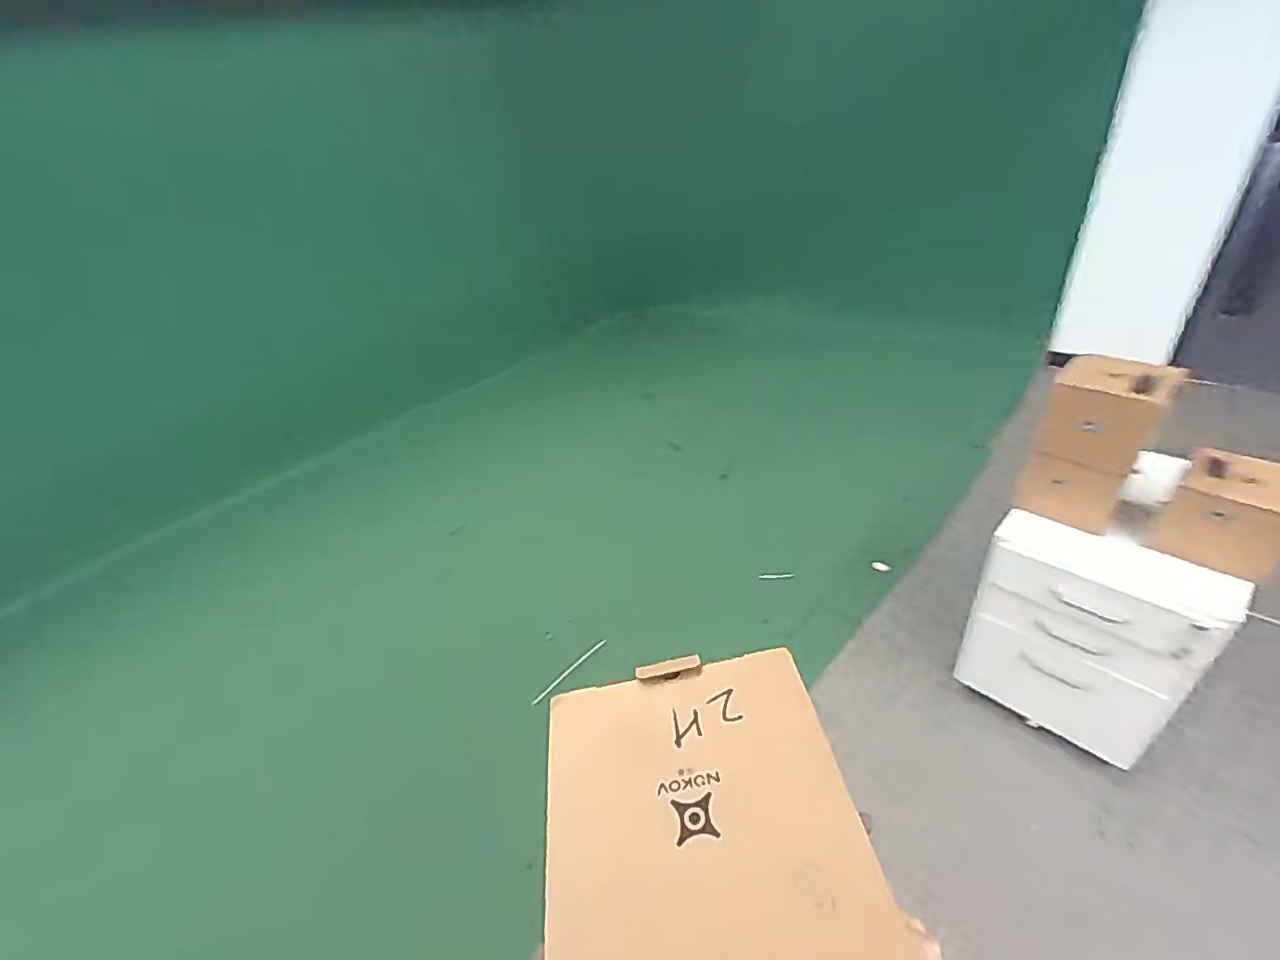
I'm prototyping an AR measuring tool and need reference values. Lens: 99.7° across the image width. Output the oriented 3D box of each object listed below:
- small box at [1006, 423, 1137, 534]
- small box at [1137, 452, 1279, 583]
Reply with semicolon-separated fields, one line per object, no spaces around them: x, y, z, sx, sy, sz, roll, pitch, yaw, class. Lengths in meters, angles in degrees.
0.974;-0.003;1.235;0.168;0.176;0.179;-35;43;-29;small box
1.148;0.074;1.082;0.168;0.176;0.179;-33;41;-28;small box
